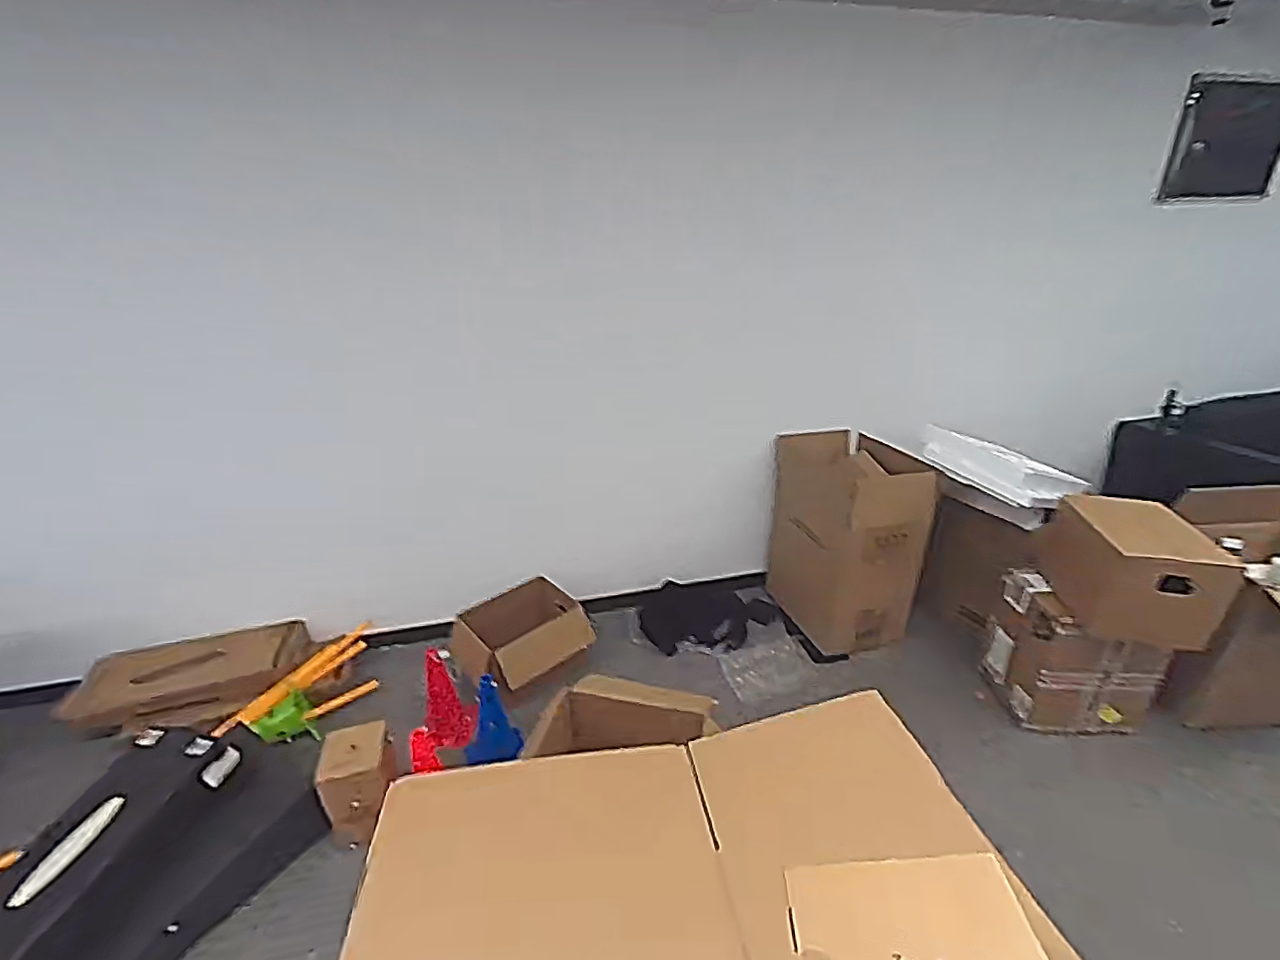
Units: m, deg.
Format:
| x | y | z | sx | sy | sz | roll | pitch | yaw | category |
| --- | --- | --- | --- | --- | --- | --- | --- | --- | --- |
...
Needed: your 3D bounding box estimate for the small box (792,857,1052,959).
| x | y | z | sx | sy | sz | roll | pitch | yaw | category |
| --- | --- | --- | --- | --- | --- | --- | --- | --- | --- |
| 0.228 | 0.434 | 0.423 | 0.179 | 0.176 | 0.168 | -11 | 25 | 9 | small box |
